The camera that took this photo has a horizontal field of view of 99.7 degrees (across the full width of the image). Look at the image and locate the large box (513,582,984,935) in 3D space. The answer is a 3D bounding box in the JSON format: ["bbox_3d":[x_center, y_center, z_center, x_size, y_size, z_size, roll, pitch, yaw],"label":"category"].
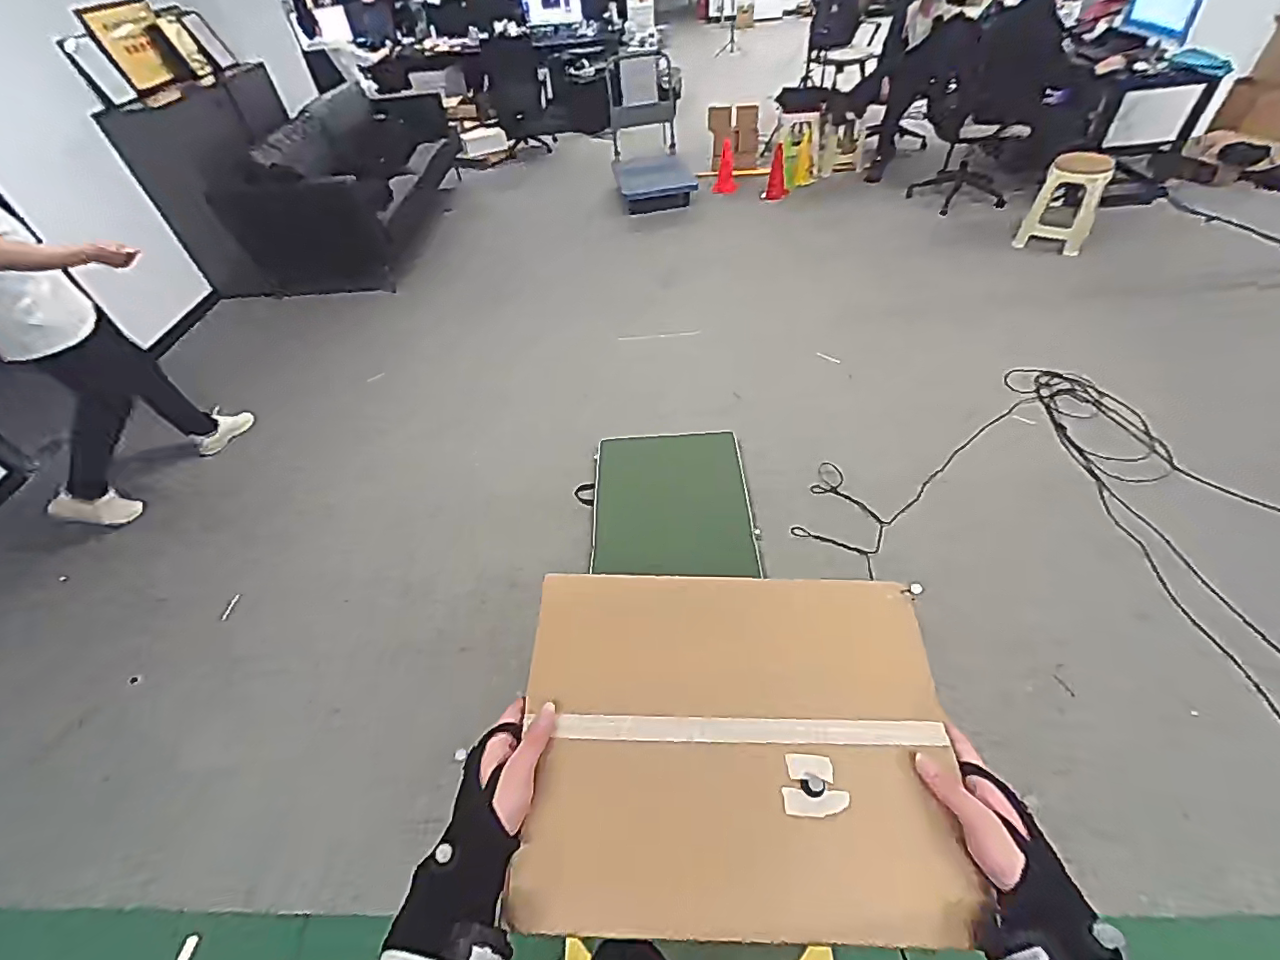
[{"bbox_3d":[0.089,0.328,0.653,0.408,0.320,0.320,1,57,0],"label":"large box"}]
